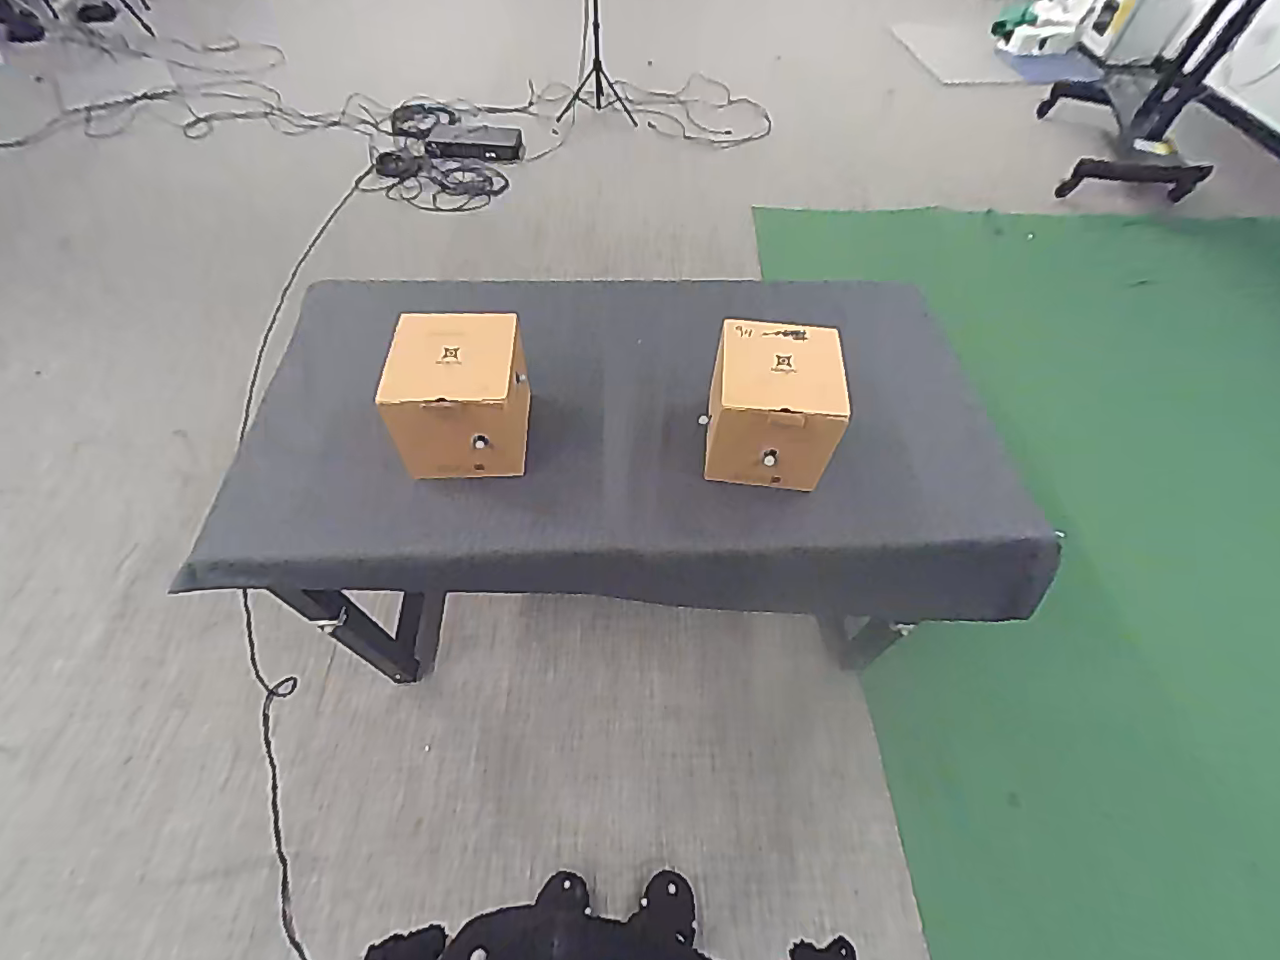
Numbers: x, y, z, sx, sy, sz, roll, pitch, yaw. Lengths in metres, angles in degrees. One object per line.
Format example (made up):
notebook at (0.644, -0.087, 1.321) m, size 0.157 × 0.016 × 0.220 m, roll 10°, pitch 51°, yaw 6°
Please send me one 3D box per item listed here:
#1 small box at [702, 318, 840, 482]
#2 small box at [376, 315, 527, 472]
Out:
small box at (0.185, -0.114, 0.806) m, size 0.168 × 0.176 × 0.179 m, roll 6°, pitch 57°, yaw 2°
small box at (-0.263, -0.122, 0.804) m, size 0.168 × 0.176 × 0.179 m, roll -2°, pitch 54°, yaw -4°
